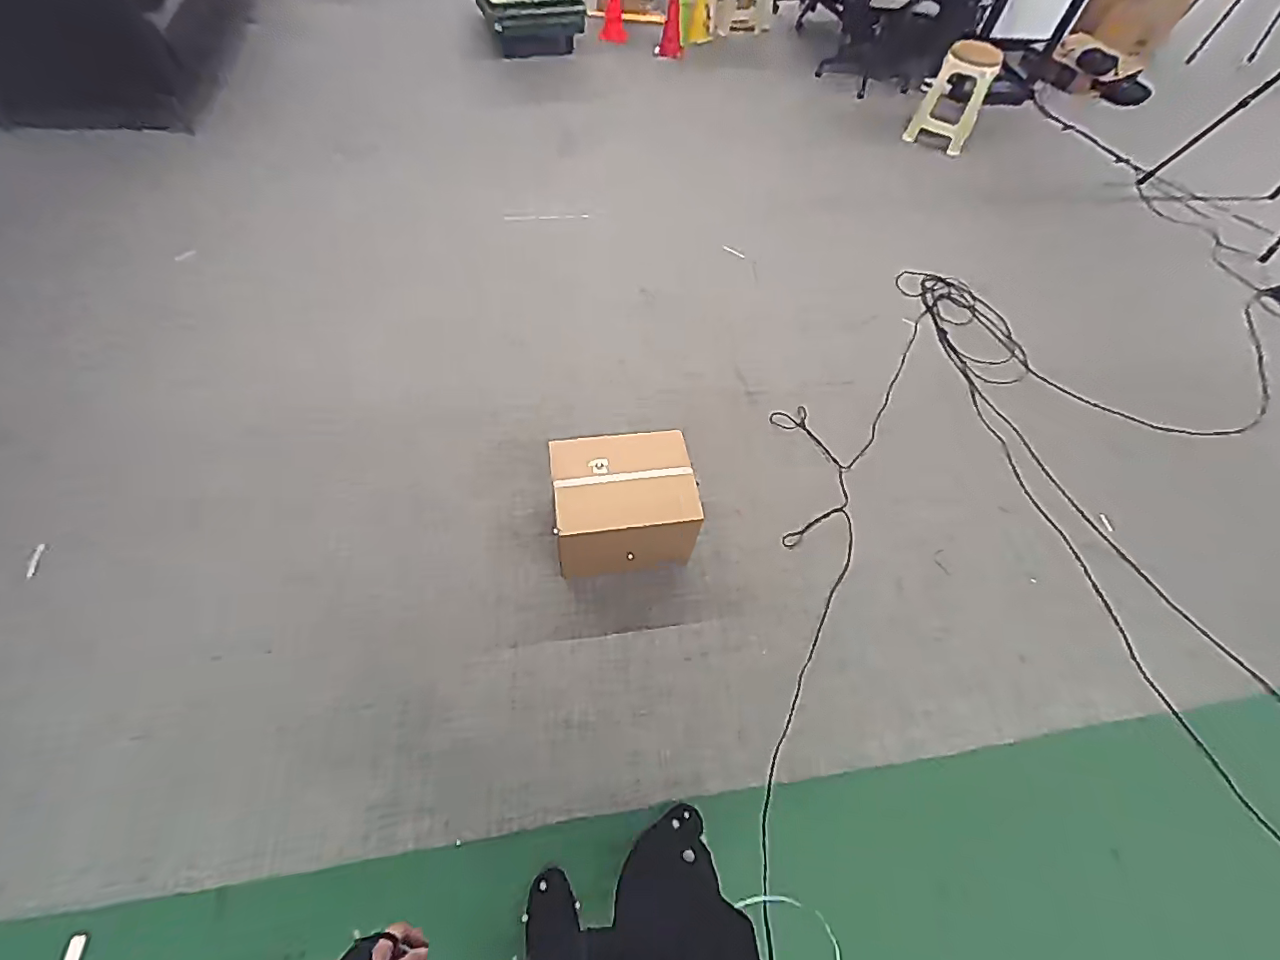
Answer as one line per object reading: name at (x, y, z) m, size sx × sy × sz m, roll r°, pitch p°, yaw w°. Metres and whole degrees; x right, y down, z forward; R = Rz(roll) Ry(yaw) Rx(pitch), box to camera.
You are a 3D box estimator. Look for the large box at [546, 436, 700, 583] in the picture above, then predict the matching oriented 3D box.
large box at (-0.063, 0.098, 1.676) m, size 0.408 × 0.320 × 0.320 m, roll -7°, pitch 58°, yaw -9°
